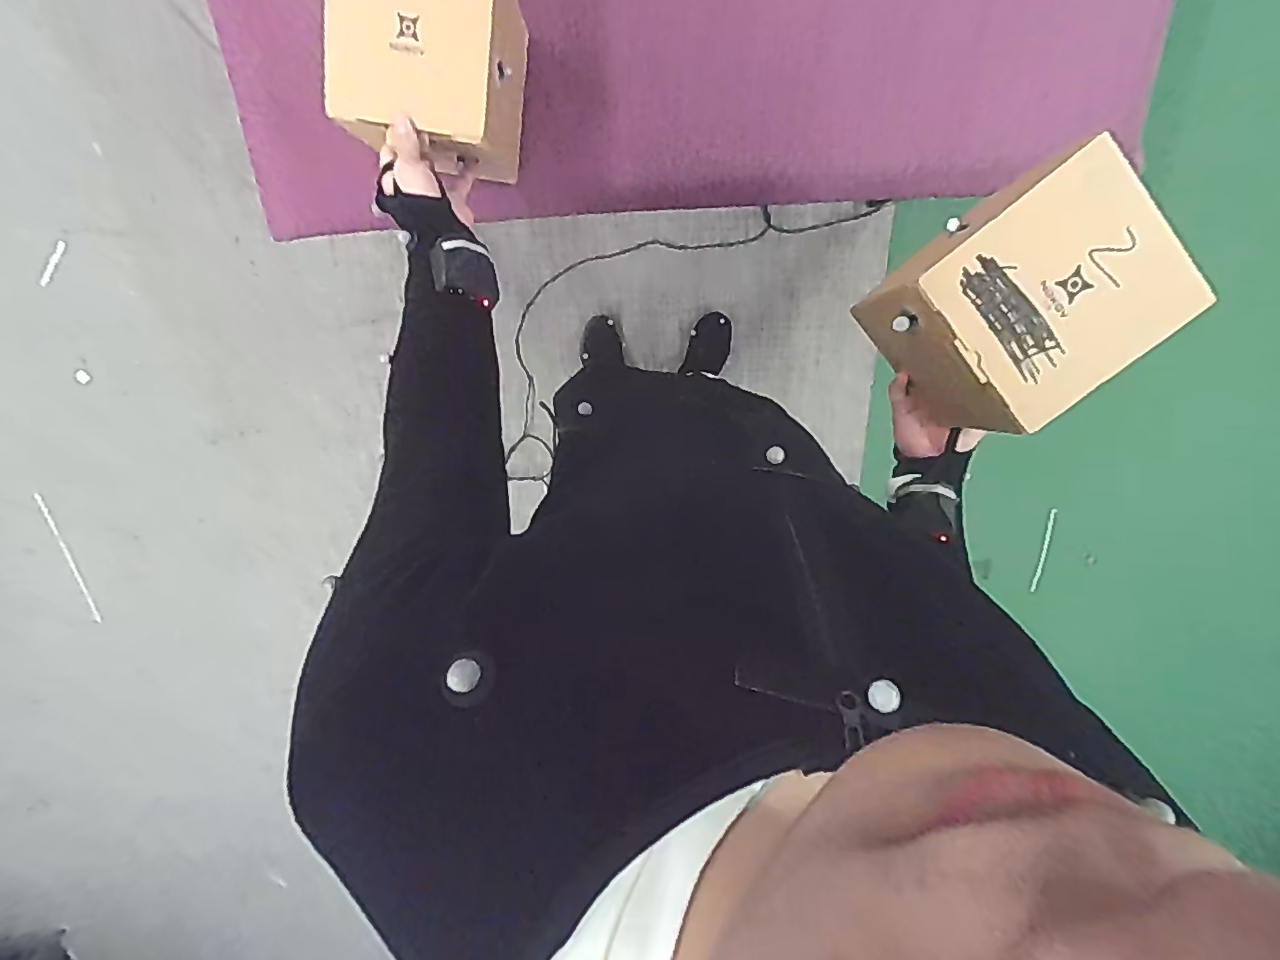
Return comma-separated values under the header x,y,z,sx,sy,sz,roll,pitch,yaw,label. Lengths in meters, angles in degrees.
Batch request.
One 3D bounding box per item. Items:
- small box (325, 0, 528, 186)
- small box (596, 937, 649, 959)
x,y,z,sx,sy,sz,roll,pitch,yaw,label
-0.233,-0.462,0.622,0.168,0.176,0.179,9,104,-2,small box
-0.055,1.579,1.691,0.168,0.176,0.179,-1,108,-2,small box
